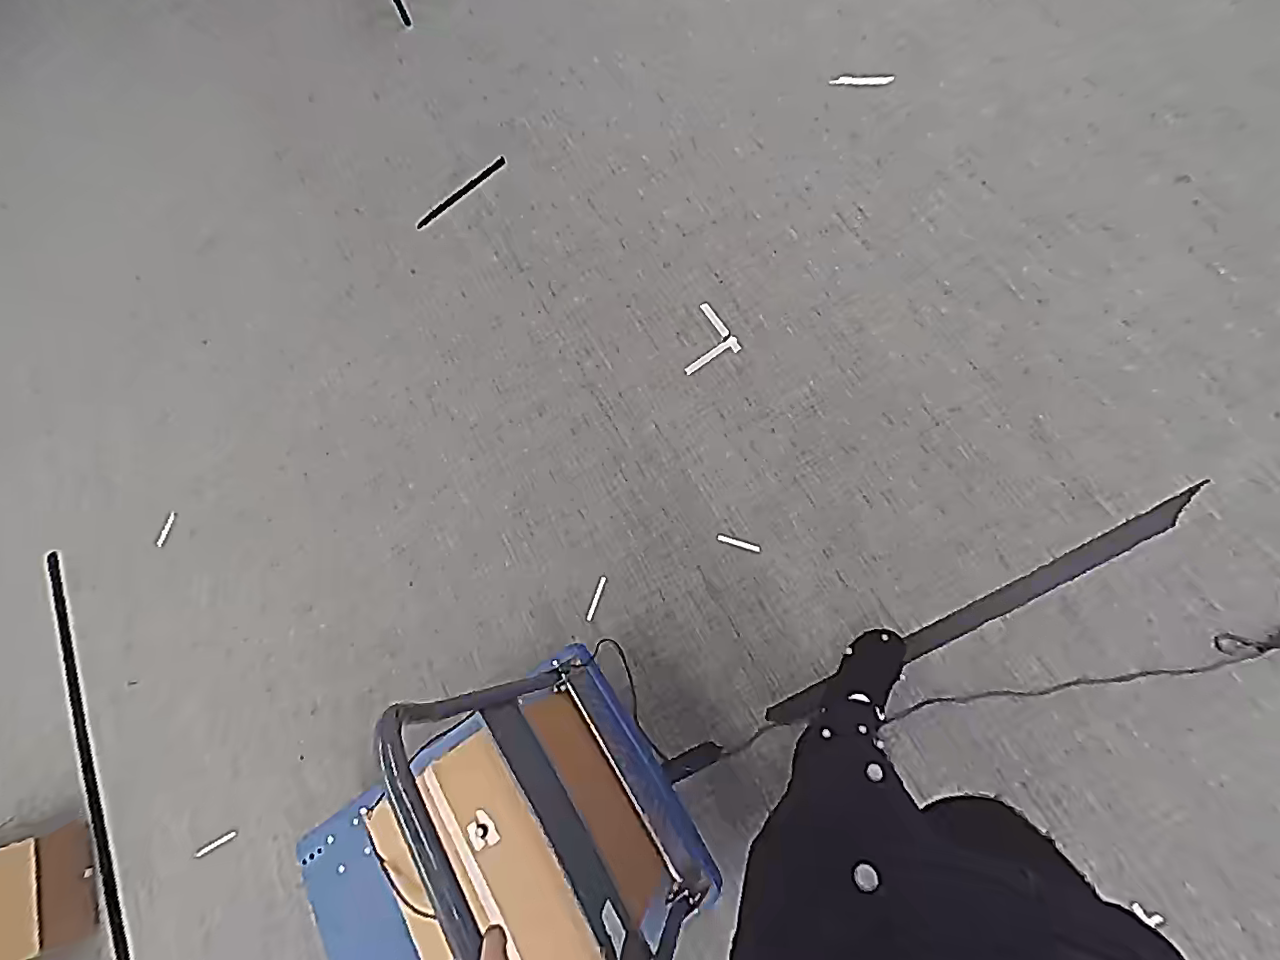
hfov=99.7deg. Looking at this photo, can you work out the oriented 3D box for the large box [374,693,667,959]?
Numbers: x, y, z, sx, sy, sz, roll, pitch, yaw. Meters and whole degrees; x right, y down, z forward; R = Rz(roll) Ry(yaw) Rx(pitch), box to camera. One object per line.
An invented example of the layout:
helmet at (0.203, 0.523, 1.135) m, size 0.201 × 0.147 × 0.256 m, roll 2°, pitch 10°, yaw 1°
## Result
large box at (-0.208, 0.688, 1.028) m, size 0.320 × 0.320 × 0.408 m, roll -37°, pitch 71°, yaw 5°
